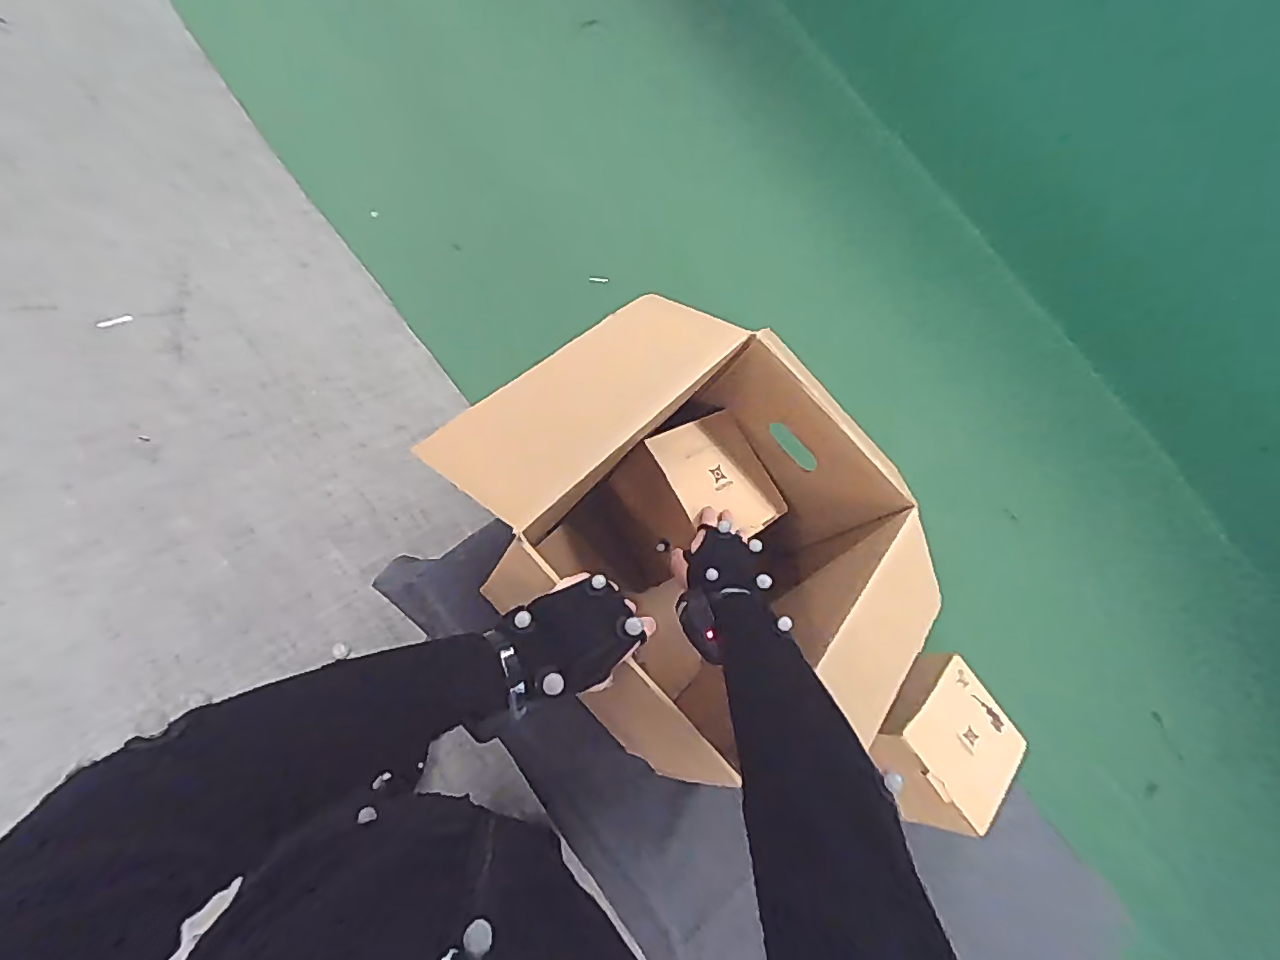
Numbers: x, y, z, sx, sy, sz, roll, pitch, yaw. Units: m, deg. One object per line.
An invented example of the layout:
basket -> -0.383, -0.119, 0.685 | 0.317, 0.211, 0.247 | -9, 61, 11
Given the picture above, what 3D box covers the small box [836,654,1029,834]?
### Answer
small box -> 0.434, 0.392, 0.831 | 0.179, 0.176, 0.168 | -32, 84, -28
